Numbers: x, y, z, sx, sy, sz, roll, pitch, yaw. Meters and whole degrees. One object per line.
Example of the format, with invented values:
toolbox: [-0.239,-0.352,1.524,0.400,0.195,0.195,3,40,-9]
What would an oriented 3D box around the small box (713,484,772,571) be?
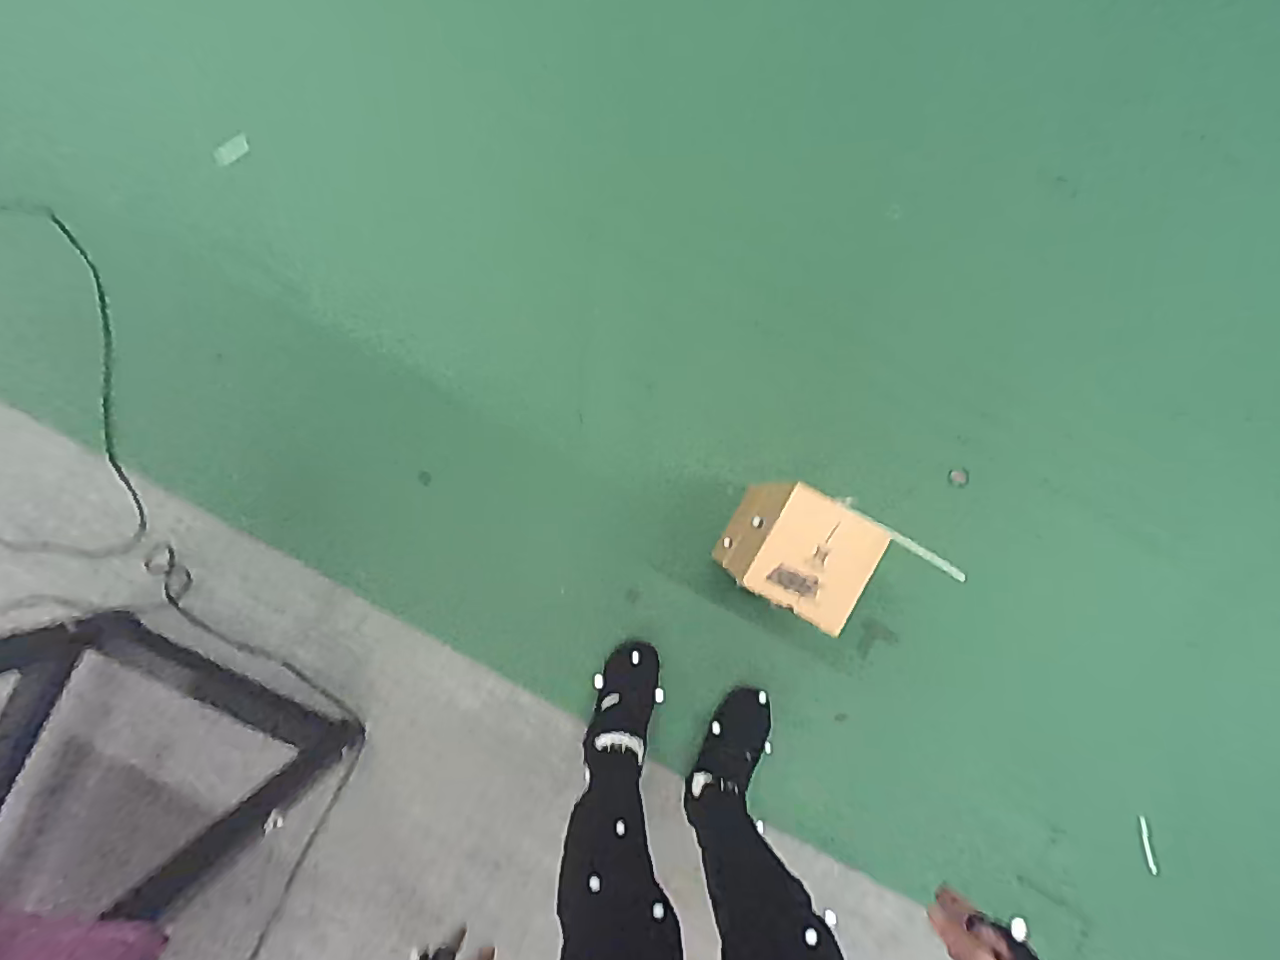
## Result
small box: [0.256,0.121,1.051,0.168,0.176,0.179,30,90,0]

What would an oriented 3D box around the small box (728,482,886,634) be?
small box: [0.258,0.119,0.887,0.168,0.176,0.179,30,88,-1]
